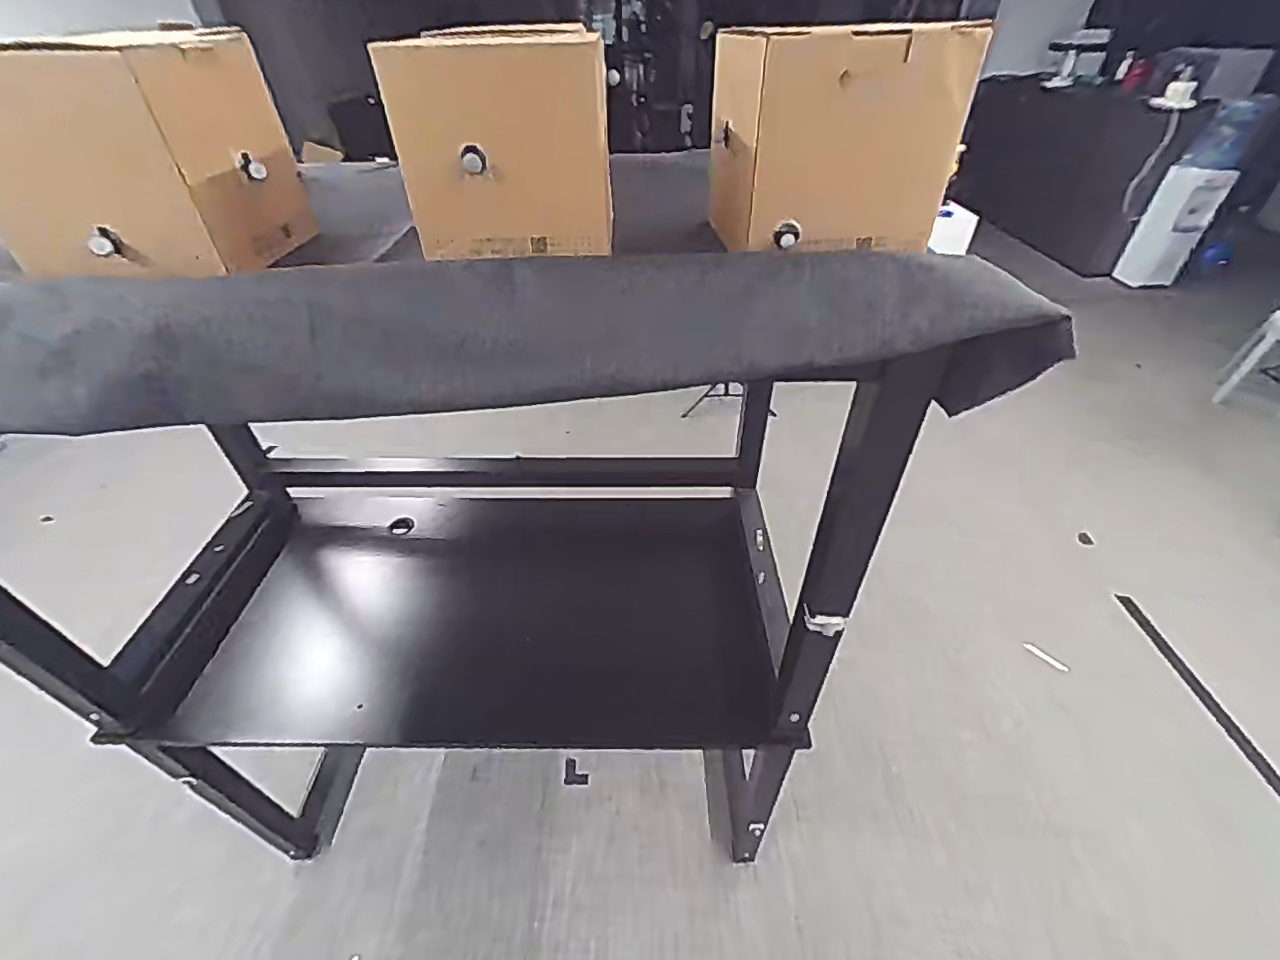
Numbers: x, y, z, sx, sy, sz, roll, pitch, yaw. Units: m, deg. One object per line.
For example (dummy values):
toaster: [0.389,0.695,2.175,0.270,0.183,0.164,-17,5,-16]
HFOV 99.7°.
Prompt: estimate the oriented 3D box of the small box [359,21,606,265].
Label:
small box: [-0.119,-0.306,0.497,0.168,0.176,0.179,-3,40,-1]

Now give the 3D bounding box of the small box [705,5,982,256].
small box: [0.156,-0.310,0.488,0.168,0.176,0.179,-5,39,-3]

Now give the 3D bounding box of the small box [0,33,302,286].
small box: [-0.442,-0.280,0.474,0.179,0.176,0.168,-1,39,-1]
